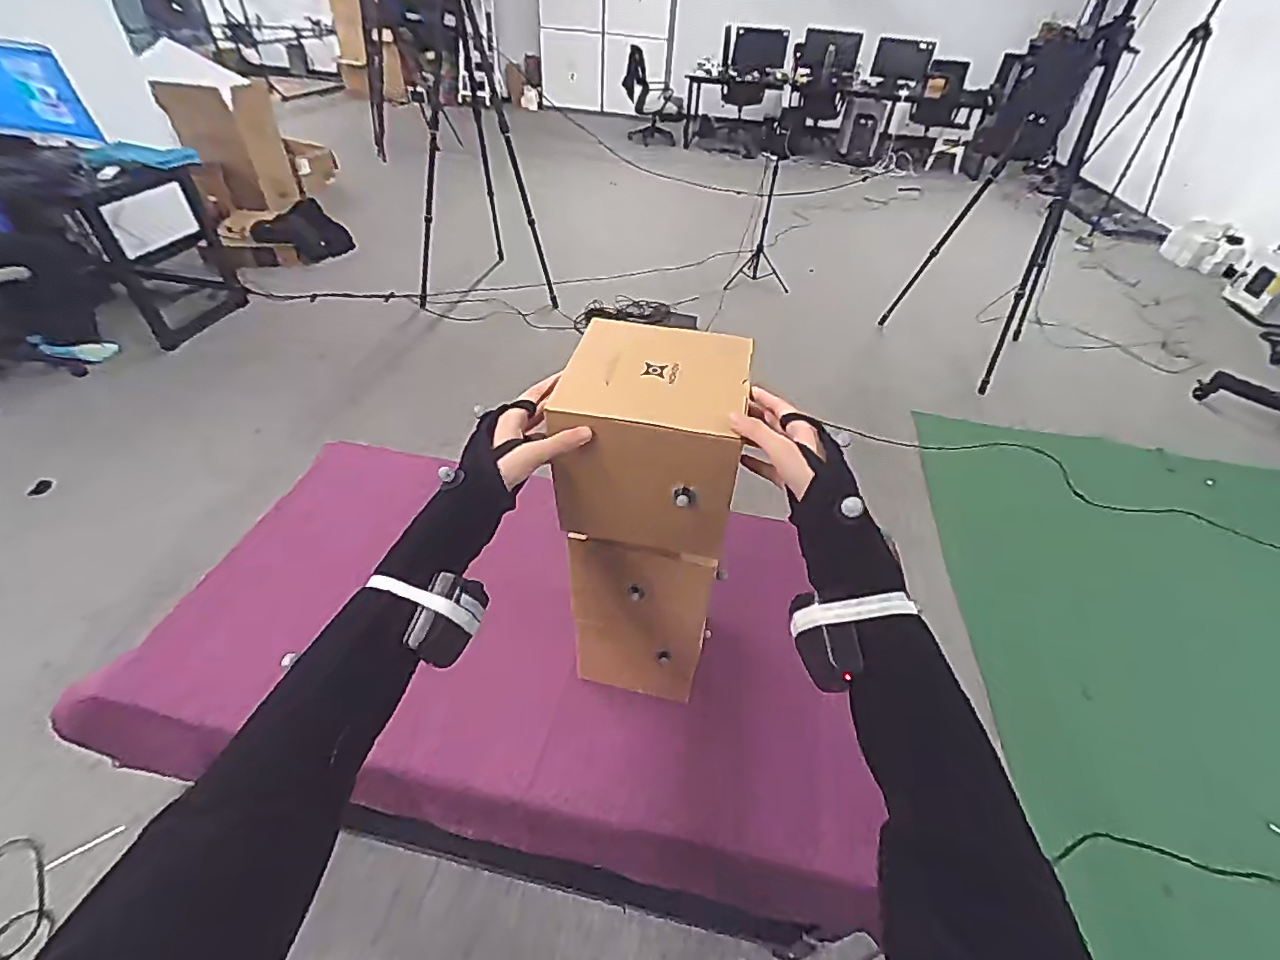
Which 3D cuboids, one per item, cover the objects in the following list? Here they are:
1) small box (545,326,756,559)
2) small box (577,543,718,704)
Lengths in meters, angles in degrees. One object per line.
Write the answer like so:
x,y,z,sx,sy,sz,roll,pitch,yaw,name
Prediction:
0.016,-0.038,0.570,0.179,0.176,0.168,9,45,8,small box
0.012,0.219,0.831,0.179,0.176,0.168,11,42,7,small box
